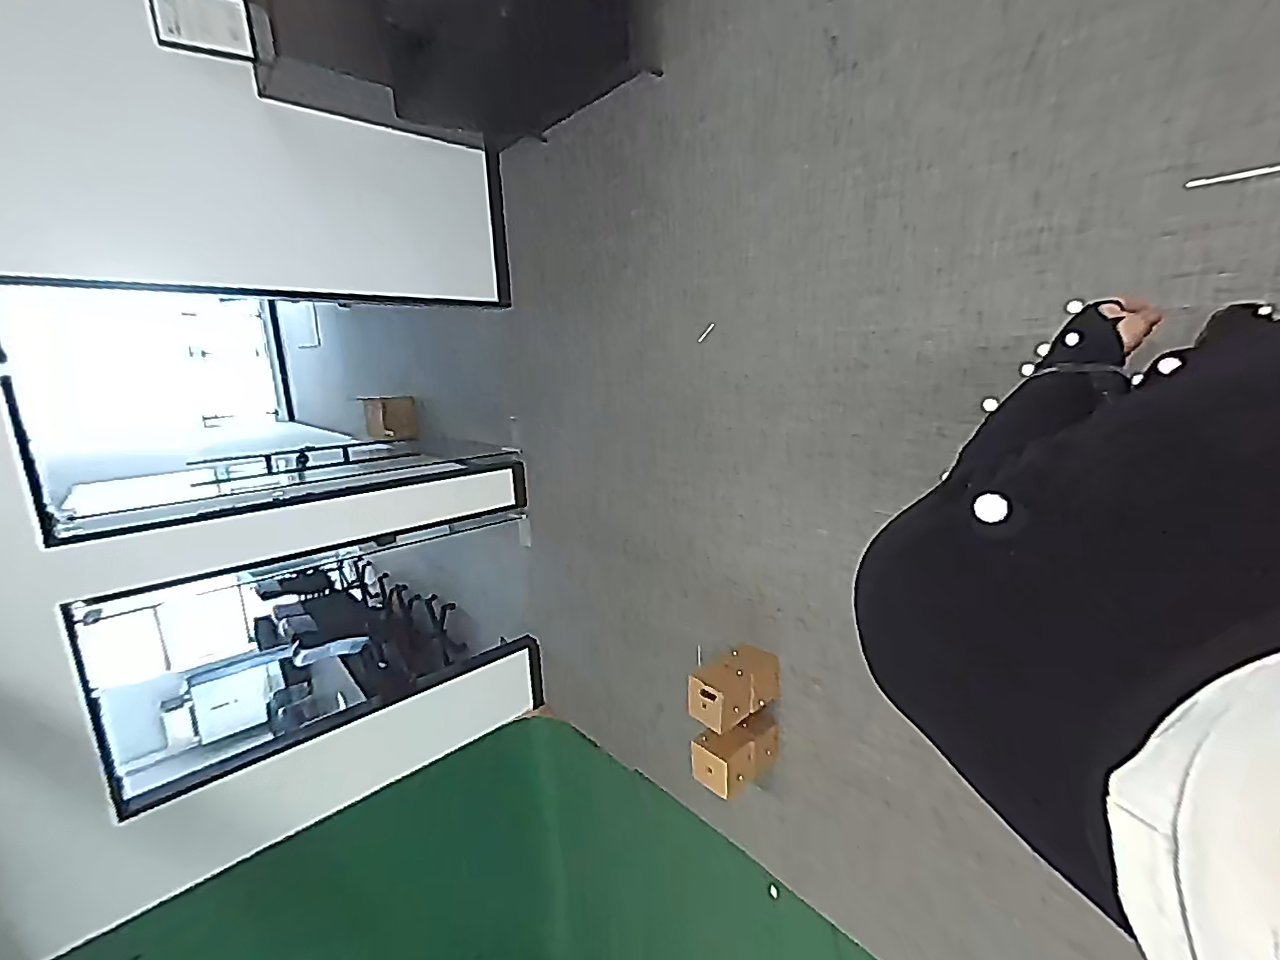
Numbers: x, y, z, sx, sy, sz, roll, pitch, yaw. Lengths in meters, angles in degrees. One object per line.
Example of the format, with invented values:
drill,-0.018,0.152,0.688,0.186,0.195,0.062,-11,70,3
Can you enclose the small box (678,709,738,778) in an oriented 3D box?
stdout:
small box,0.270,1.016,2.123,0.179,0.176,0.168,12,110,46

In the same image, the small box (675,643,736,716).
small box,0.250,0.752,2.067,0.168,0.176,0.179,17,114,45

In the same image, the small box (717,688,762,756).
small box,0.387,0.988,2.231,0.179,0.176,0.168,15,111,44
